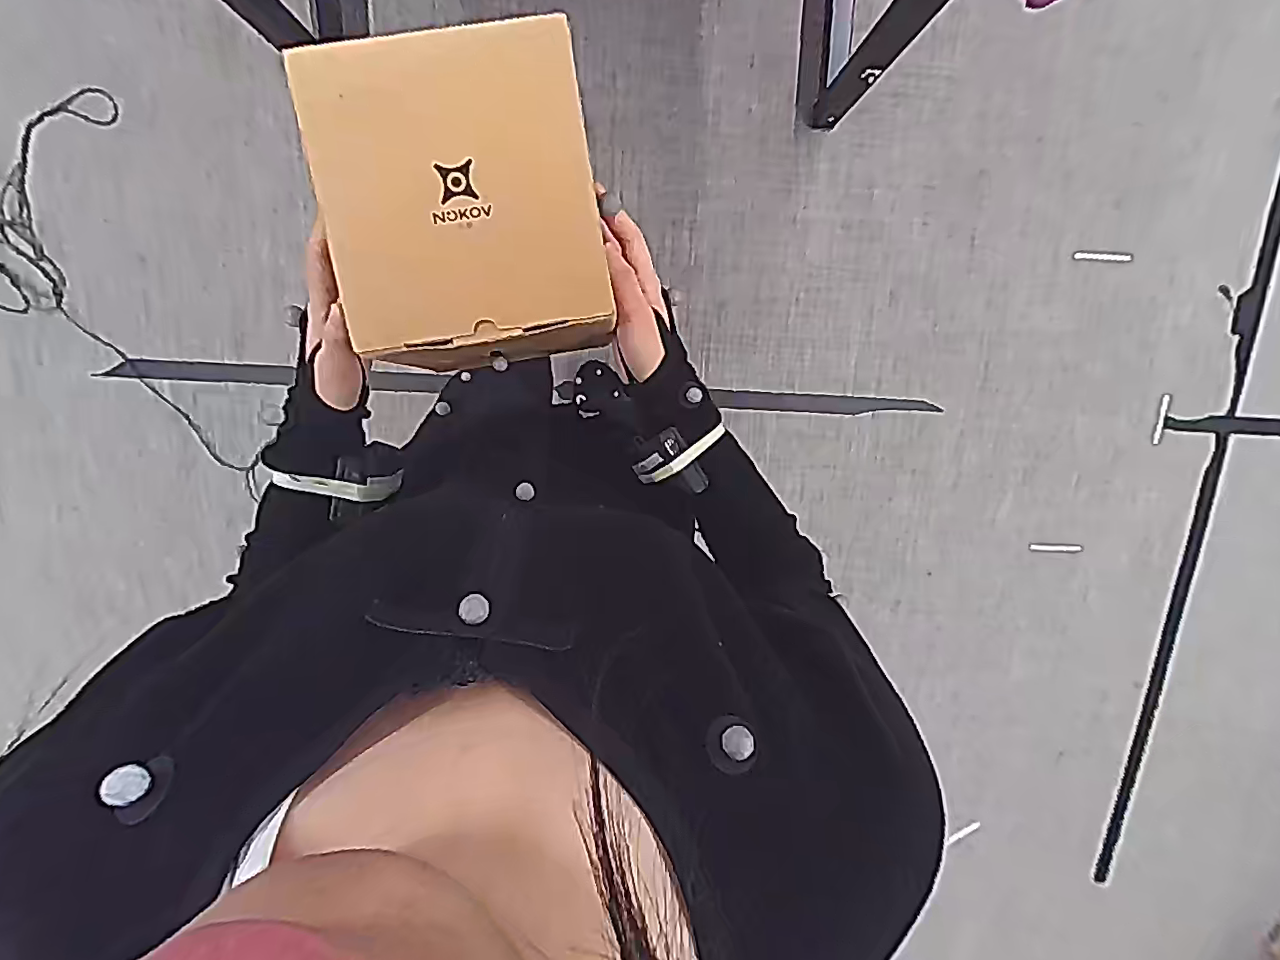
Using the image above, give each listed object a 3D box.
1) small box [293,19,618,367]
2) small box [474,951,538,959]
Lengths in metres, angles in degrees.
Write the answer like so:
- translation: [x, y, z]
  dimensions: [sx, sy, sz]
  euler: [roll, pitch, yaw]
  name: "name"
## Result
- translation: [-0.114, -0.188, 0.407]
  dimensions: [0.168, 0.176, 0.179]
  euler: [-10, 100, -3]
  name: "small box"
- translation: [-0.360, 1.371, 1.401]
  dimensions: [0.179, 0.176, 0.168]
  euler: [1, 101, -2]
  name: "small box"
